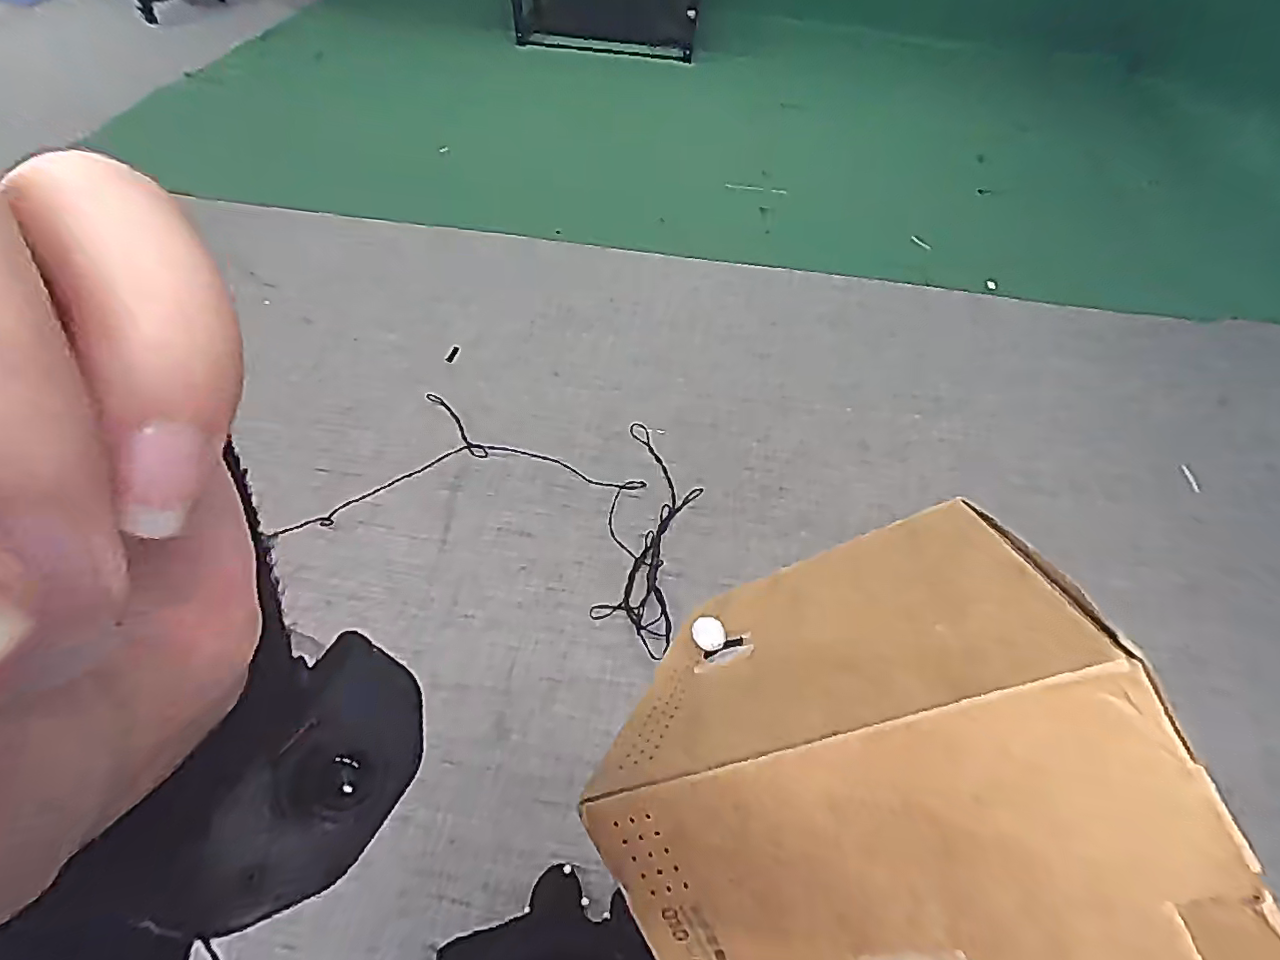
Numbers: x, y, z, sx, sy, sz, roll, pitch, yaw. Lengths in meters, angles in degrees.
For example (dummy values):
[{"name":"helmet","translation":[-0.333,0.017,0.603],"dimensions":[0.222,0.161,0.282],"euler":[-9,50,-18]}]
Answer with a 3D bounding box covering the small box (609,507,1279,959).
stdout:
[{"name":"small box","translation":[0.109,0.134,0.229],"dimensions":[0.176,0.179,0.168],"euler":[-28,89,22]}]
